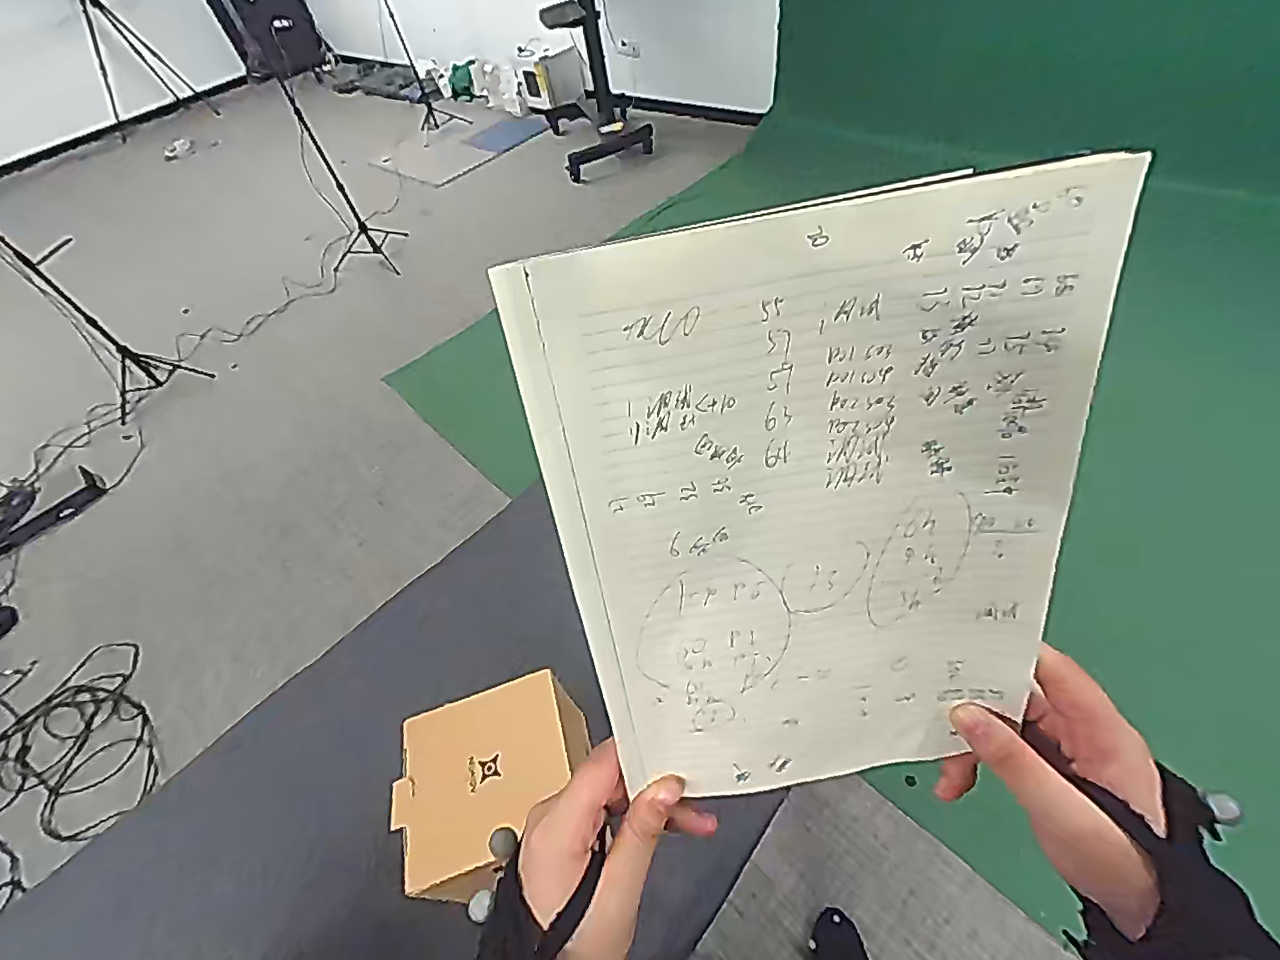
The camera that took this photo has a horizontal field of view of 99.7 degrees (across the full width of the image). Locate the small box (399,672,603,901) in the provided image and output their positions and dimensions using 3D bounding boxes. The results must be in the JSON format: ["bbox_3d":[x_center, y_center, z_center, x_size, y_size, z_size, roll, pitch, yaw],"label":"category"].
[{"bbox_3d":[-0.149,0.349,0.614,0.179,0.176,0.168,-20,50,-4],"label":"small box"}]
